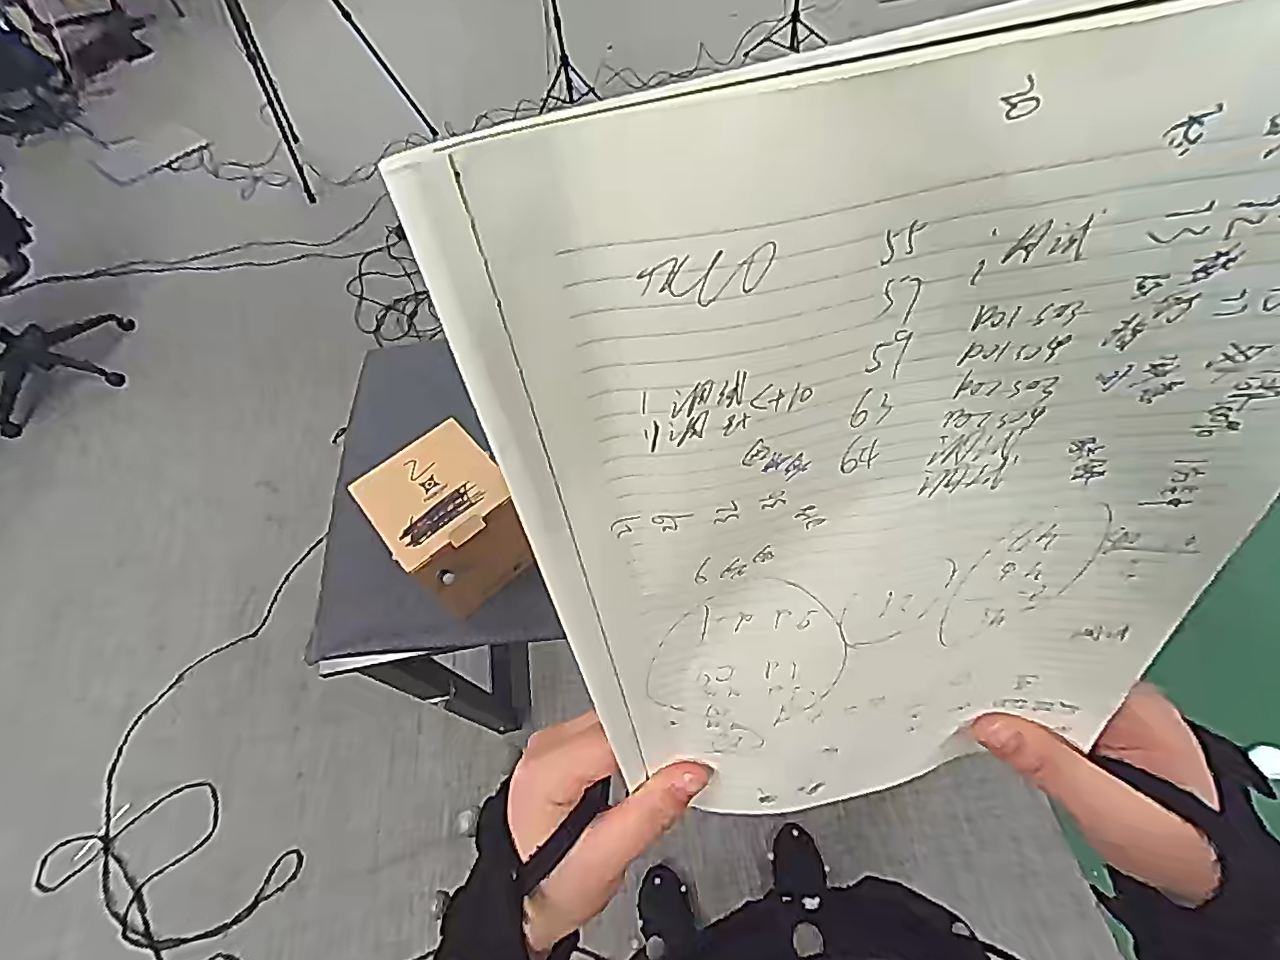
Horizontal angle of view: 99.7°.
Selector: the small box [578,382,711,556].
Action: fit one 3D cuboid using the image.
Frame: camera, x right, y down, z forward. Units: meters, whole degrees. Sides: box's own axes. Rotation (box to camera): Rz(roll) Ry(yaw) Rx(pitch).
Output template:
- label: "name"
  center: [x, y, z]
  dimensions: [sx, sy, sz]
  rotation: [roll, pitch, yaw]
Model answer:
- label: "small box"
  center: [0.007, -0.012, 0.780]
  dimensions: [0.168, 0.176, 0.179]
  rotation: [-9, 56, 3]
